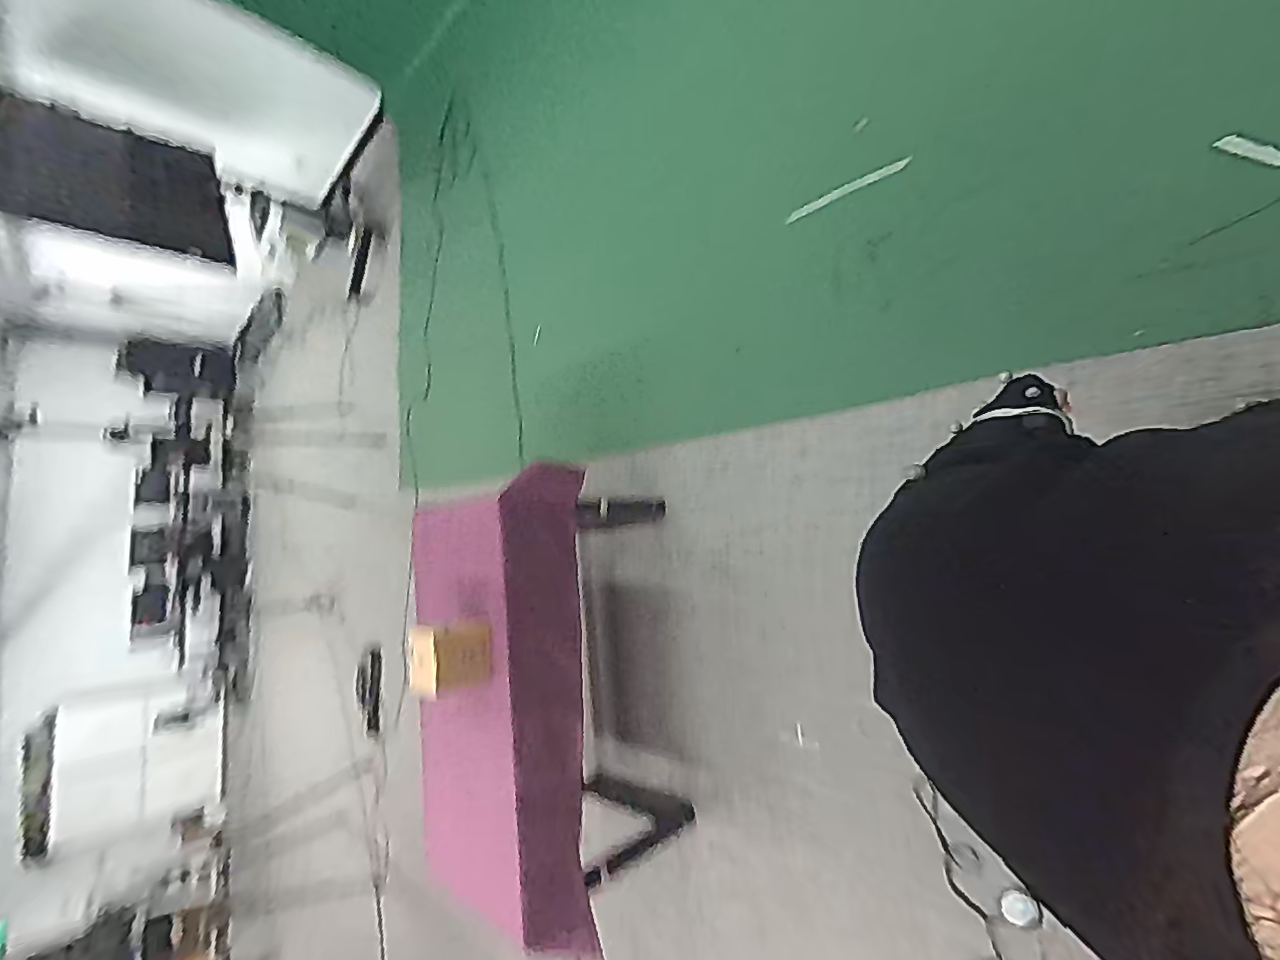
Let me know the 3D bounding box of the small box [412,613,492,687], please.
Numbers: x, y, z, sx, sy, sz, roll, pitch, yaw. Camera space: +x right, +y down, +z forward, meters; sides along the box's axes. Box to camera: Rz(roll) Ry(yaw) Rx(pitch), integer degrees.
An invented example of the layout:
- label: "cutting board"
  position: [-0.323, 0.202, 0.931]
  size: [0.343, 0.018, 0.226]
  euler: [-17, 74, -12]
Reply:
- label: "small box"
  position: [-0.543, 0.486, 1.572]
  size: [0.179, 0.176, 0.168]
  euler: [-10, 82, 44]
